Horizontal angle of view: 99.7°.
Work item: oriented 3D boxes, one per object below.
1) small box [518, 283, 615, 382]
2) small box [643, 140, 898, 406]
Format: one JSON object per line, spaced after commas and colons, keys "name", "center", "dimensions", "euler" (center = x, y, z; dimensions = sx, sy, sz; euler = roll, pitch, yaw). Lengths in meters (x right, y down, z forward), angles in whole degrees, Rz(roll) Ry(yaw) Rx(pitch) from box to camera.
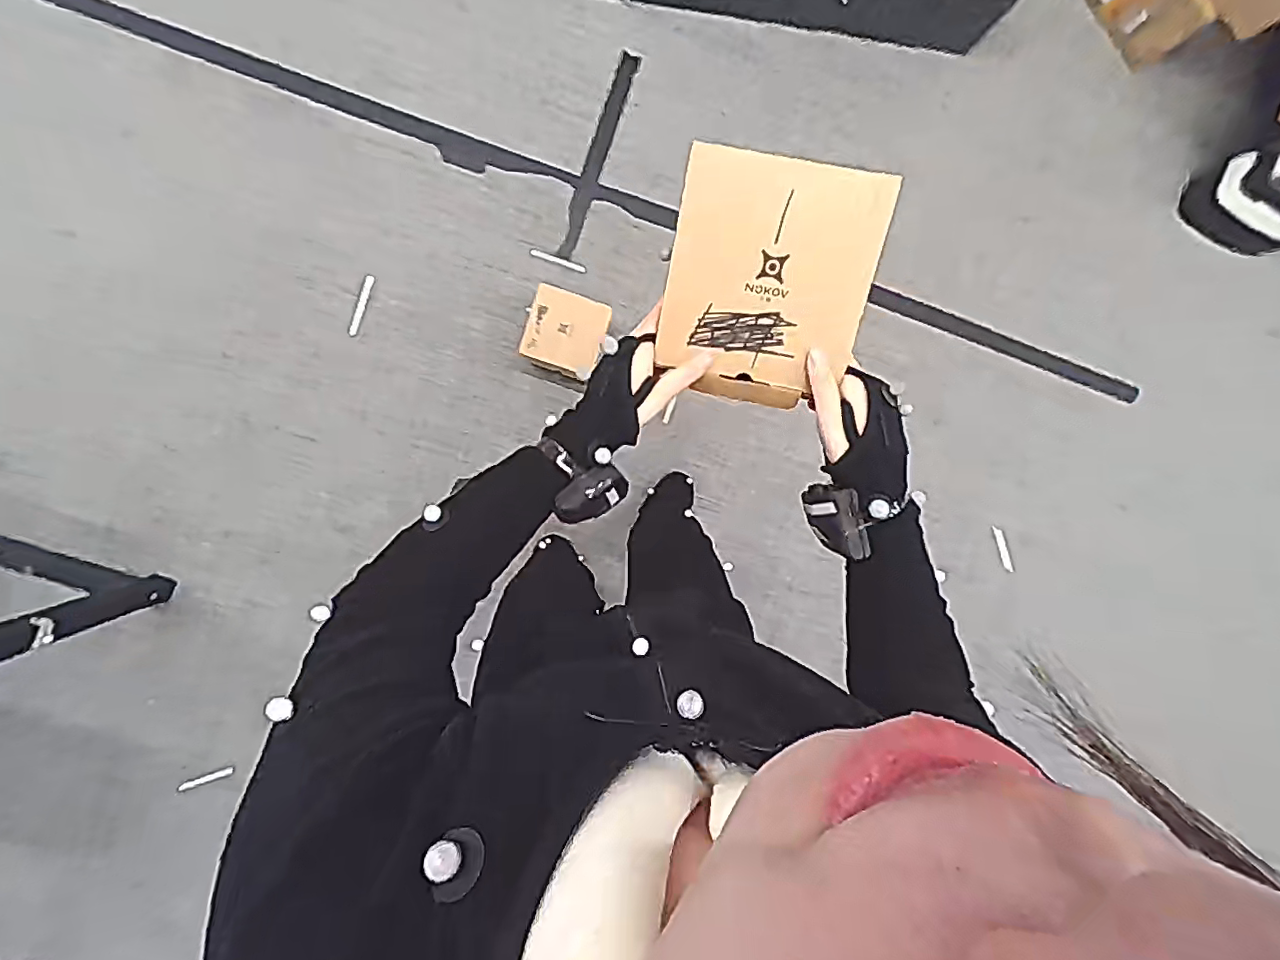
{"name": "small box", "center": [-0.170, -0.338, 1.276], "dimensions": [0.179, 0.176, 0.168], "euler": [19, 93, -7]}
{"name": "small box", "center": [0.104, -0.181, 0.499], "dimensions": [0.168, 0.176, 0.179], "euler": [10, 109, 2]}
